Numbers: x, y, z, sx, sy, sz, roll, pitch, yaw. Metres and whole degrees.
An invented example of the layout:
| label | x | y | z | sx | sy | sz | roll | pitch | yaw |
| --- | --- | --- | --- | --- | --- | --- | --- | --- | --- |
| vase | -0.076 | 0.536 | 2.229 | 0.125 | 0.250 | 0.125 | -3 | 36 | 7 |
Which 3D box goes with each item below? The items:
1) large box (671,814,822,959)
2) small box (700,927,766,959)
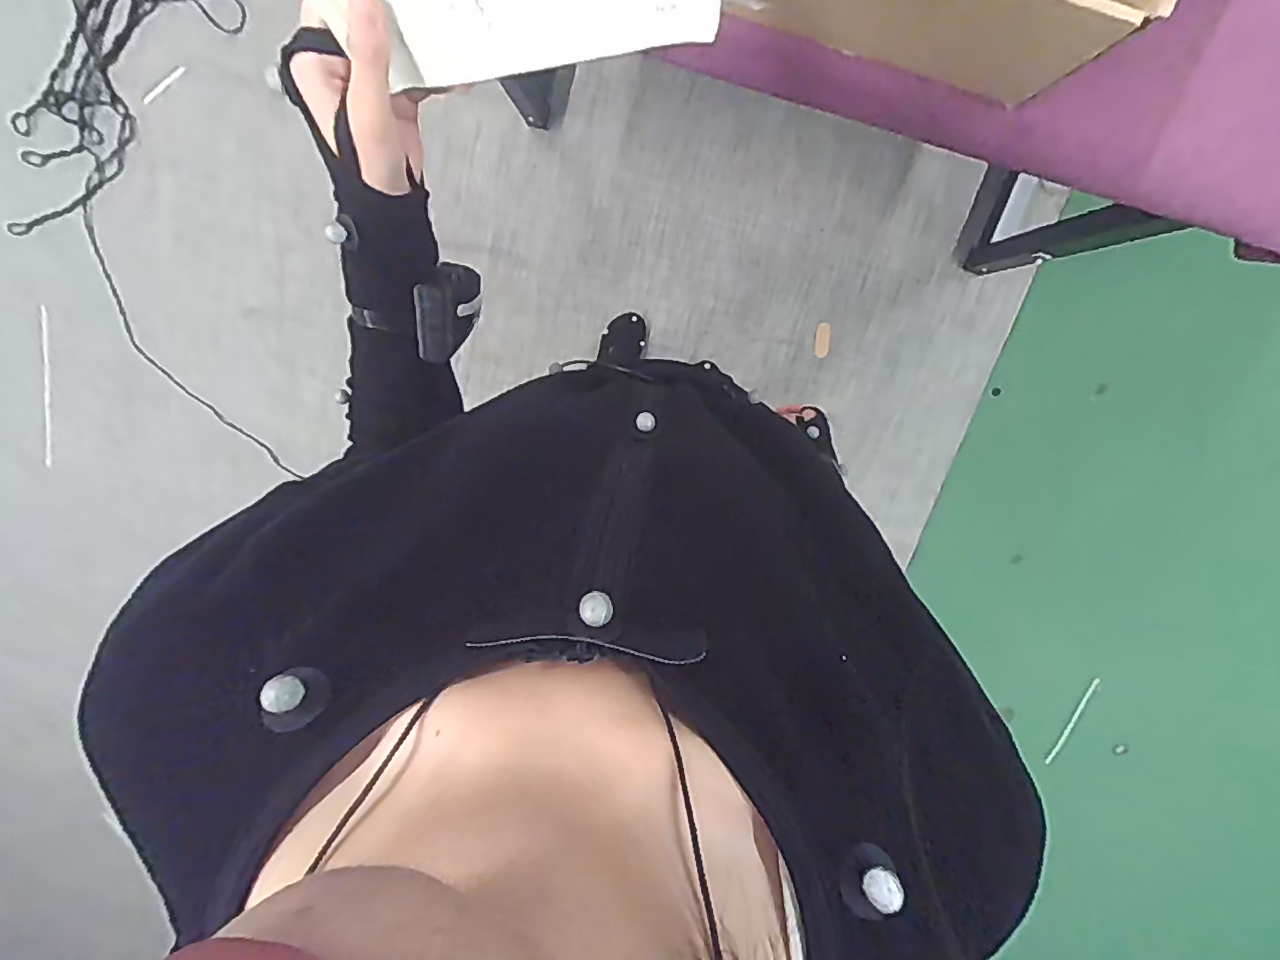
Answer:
| label | x | y | z | sx | sy | sz | roll | pitch | yaw |
| --- | --- | --- | --- | --- | --- | --- | --- | --- | --- |
| large box | 0.299 | 1.277 | 1.651 | 0.408 | 0.320 | 0.320 | 2 | 105 | 2 |
| small box | 0.243 | 1.319 | 1.413 | 0.168 | 0.176 | 0.179 | 3 | 103 | 3 |
